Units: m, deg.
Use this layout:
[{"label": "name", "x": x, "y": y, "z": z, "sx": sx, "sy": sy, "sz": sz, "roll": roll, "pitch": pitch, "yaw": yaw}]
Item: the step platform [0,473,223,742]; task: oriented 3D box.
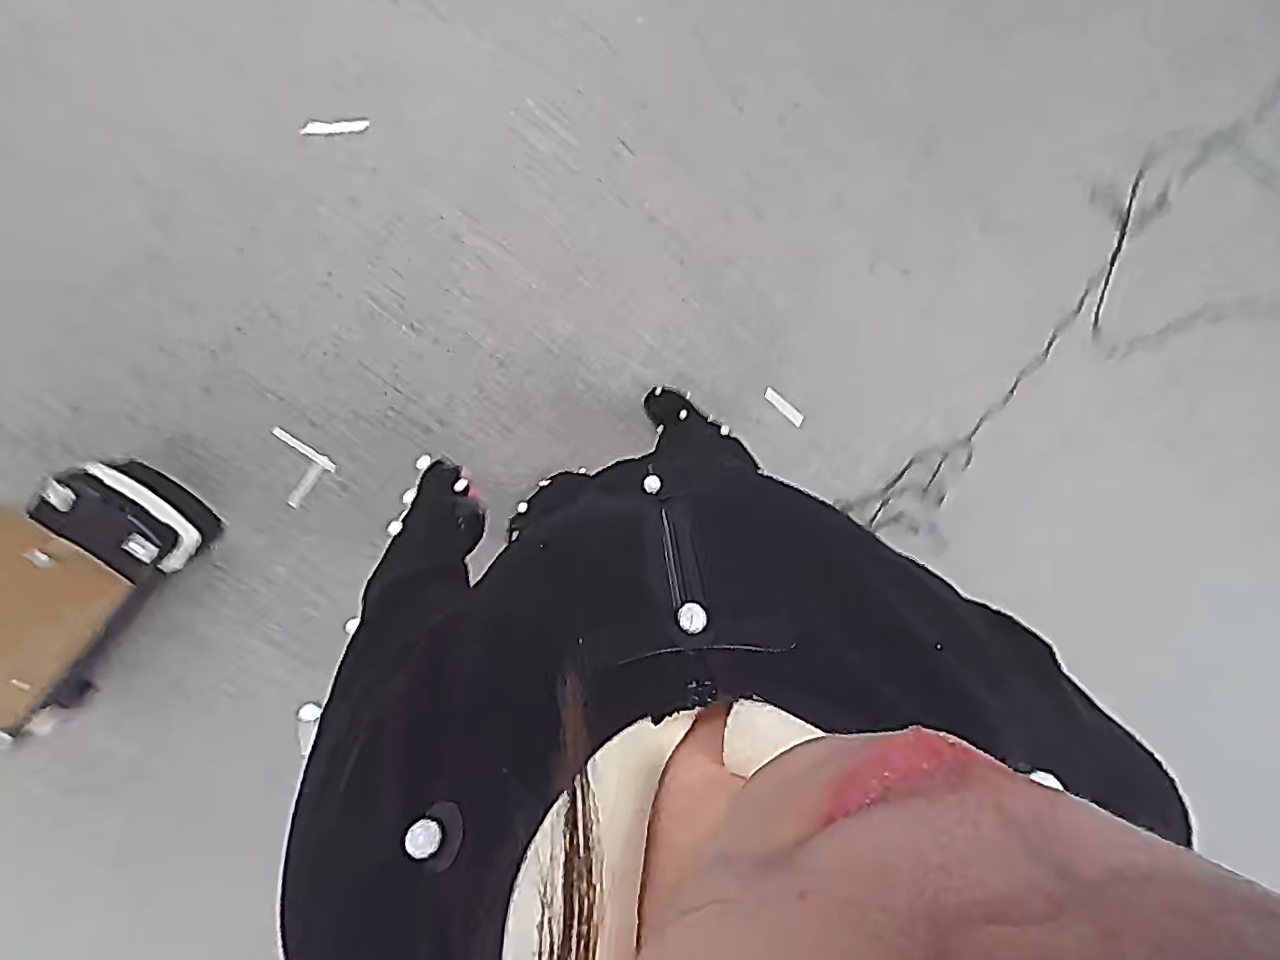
[{"label": "step platform", "x": -1.381, "y": 0.303, "z": 1.285, "sx": 0.684, "sy": 0.204, "sz": 0.286, "roll": -44, "pitch": 100, "yaw": 2}]

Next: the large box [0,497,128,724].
[{"label": "large box", "x": -1.358, "y": 0.296, "z": 1.045, "sx": 0.320, "sy": 0.320, "sz": 0.408, "roll": 40, "pitch": 93, "yaw": -9}]
